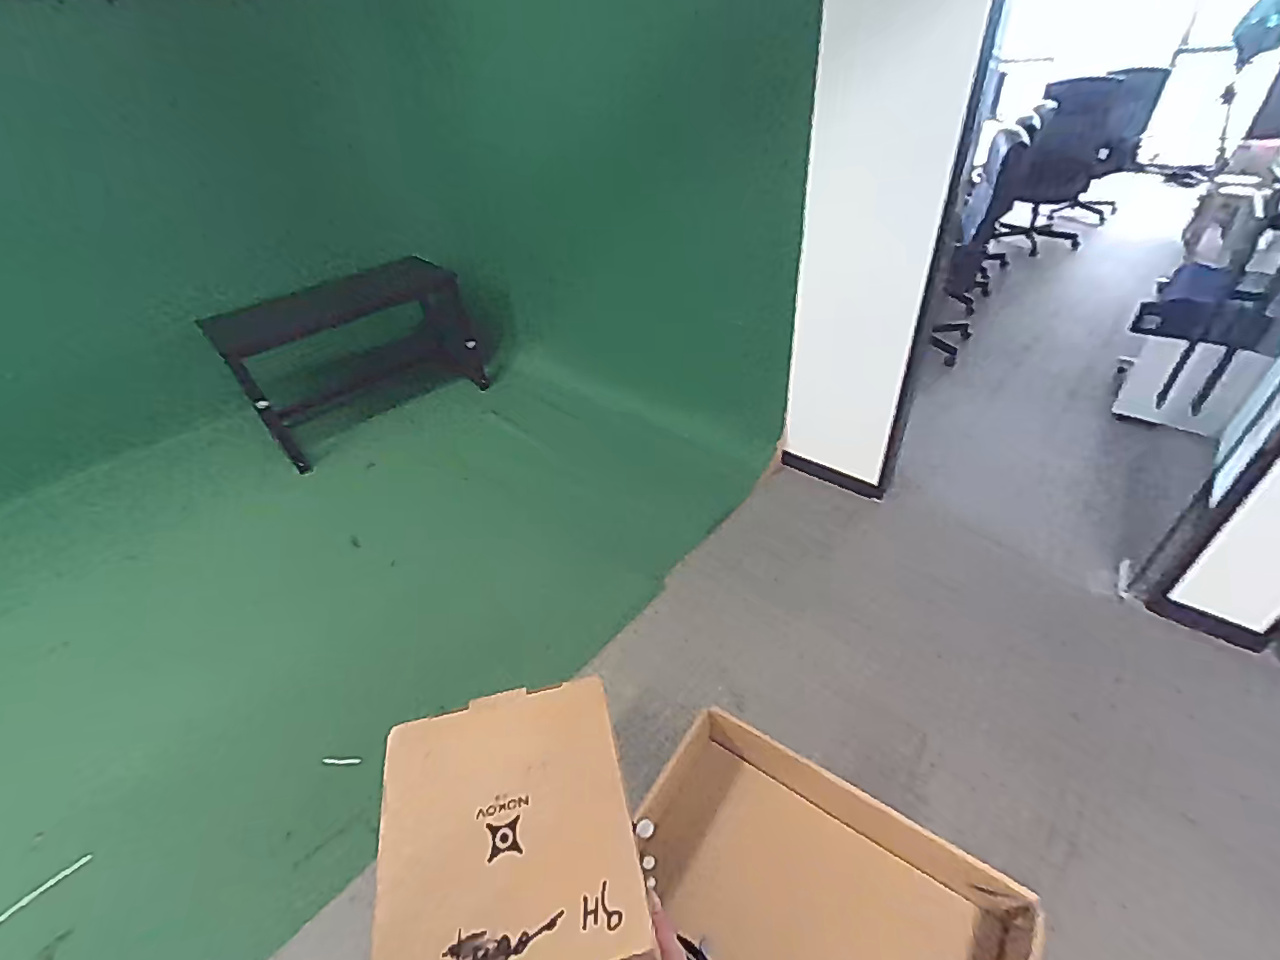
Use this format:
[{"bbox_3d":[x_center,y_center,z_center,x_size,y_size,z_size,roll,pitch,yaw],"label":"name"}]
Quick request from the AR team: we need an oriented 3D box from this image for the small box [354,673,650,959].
[{"bbox_3d":[-0.092,0.281,0.409,0.168,0.176,0.179,-12,46,-8],"label":"small box"}]
